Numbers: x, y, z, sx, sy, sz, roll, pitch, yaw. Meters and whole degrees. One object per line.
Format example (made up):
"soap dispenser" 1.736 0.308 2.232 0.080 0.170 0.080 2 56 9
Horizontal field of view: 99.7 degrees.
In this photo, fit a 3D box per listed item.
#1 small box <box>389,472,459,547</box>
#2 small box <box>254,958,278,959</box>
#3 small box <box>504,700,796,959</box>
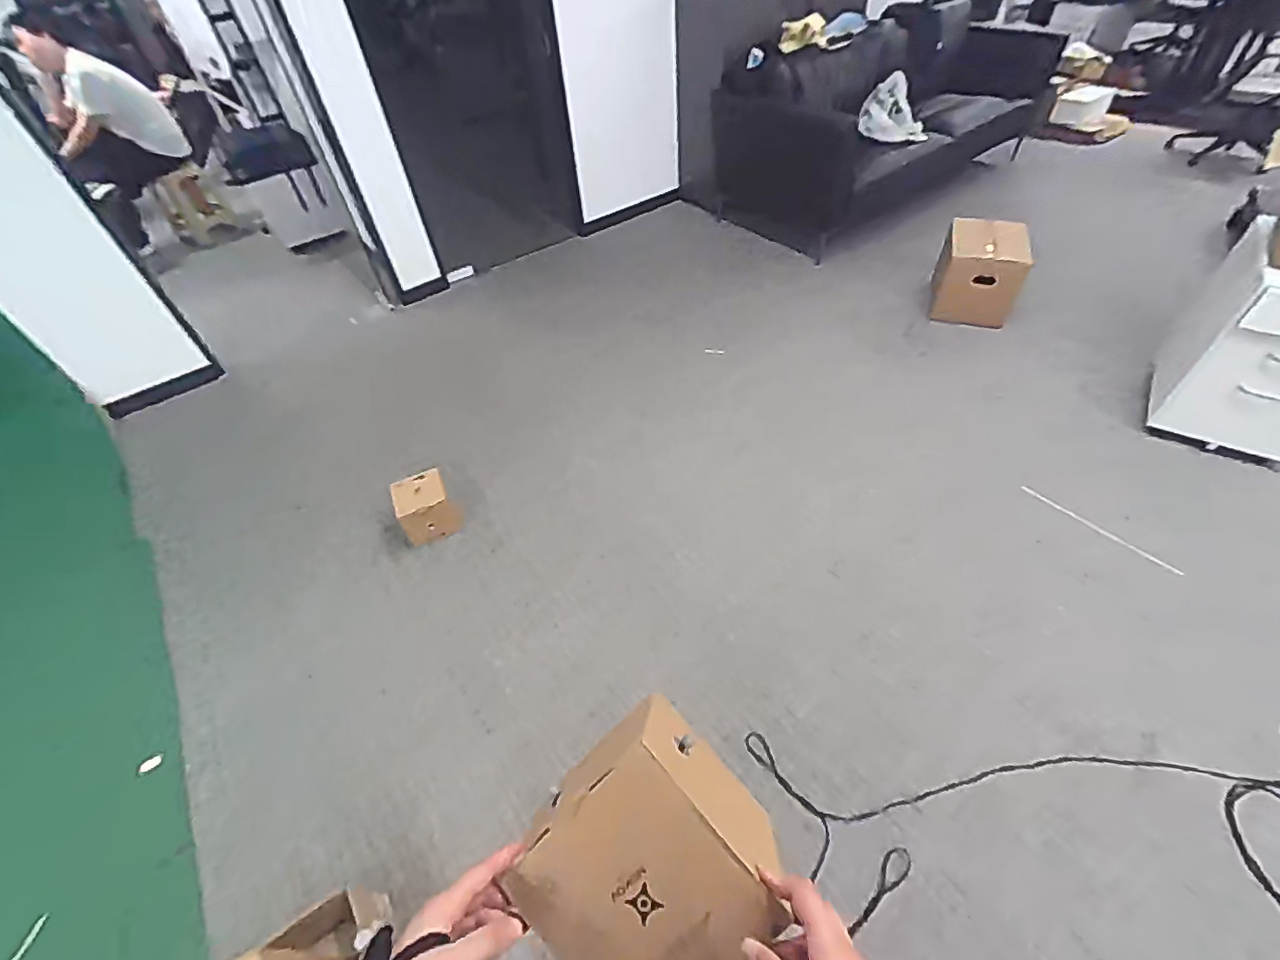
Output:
"small box" -0.742 0.108 1.865 0.168 0.176 0.179 -22 50 -14
"small box" -0.621 0.893 0.834 0.179 0.176 0.168 -30 53 -22
"small box" 0.012 0.332 0.503 0.168 0.176 0.179 -45 81 0
